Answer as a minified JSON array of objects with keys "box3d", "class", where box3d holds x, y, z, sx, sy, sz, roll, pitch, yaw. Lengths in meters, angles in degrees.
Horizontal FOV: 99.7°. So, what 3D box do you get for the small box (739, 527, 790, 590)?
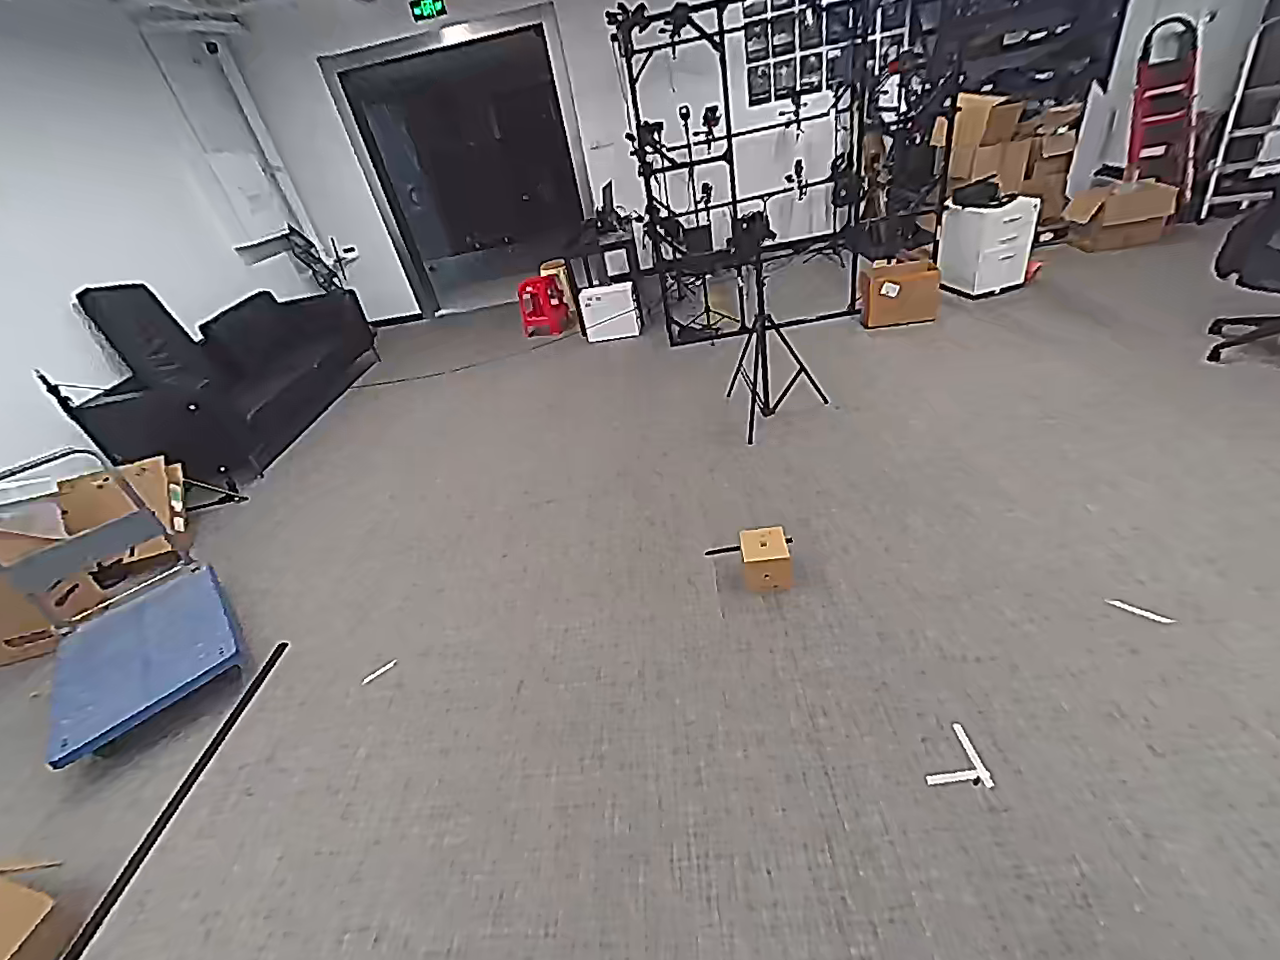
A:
[{"box3d":[0.475,0.307,2.062,0.168,0.176,0.179,-7,33,8],"class":"small box"}]
